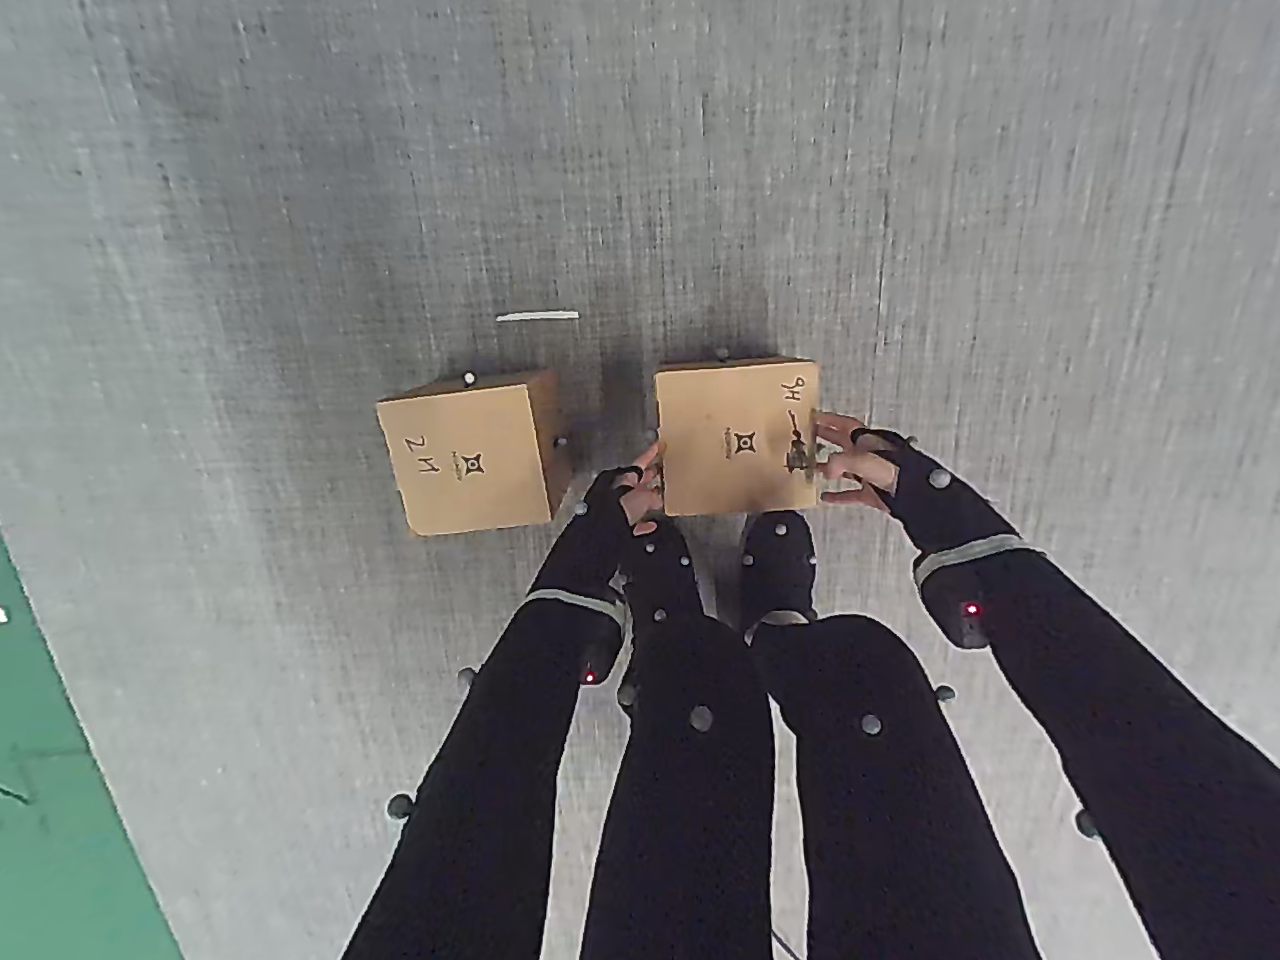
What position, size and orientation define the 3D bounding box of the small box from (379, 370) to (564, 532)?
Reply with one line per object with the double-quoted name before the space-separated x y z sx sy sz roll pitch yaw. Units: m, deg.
"small box" -0.201 -0.047 0.709 0.179 0.176 0.168 -6 107 4
